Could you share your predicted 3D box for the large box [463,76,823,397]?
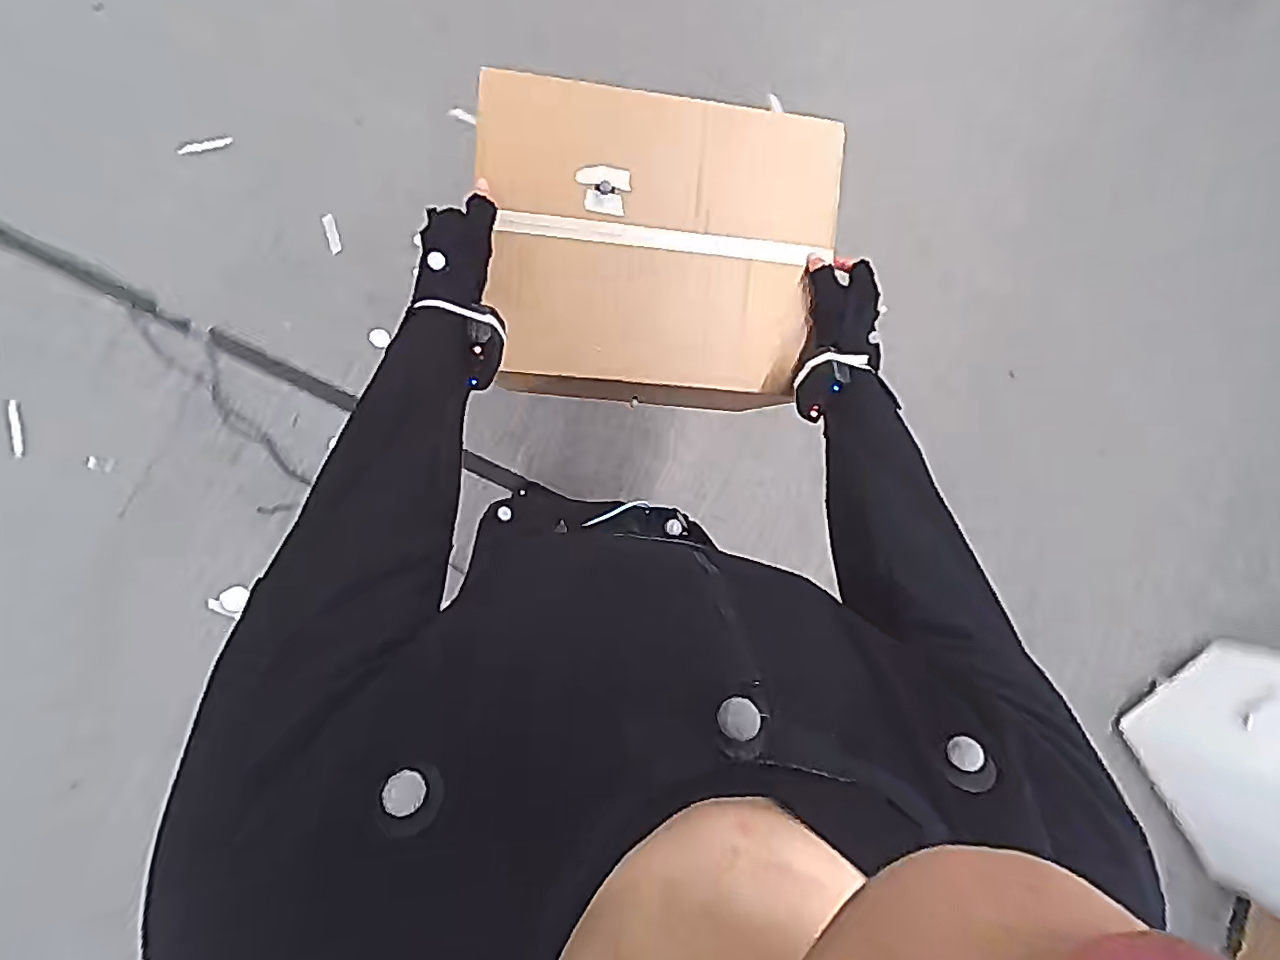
[{"bbox_3d":[-0.007,-0.285,0.754,0.408,0.320,0.320,3,93,-7],"label":"large box"}]
